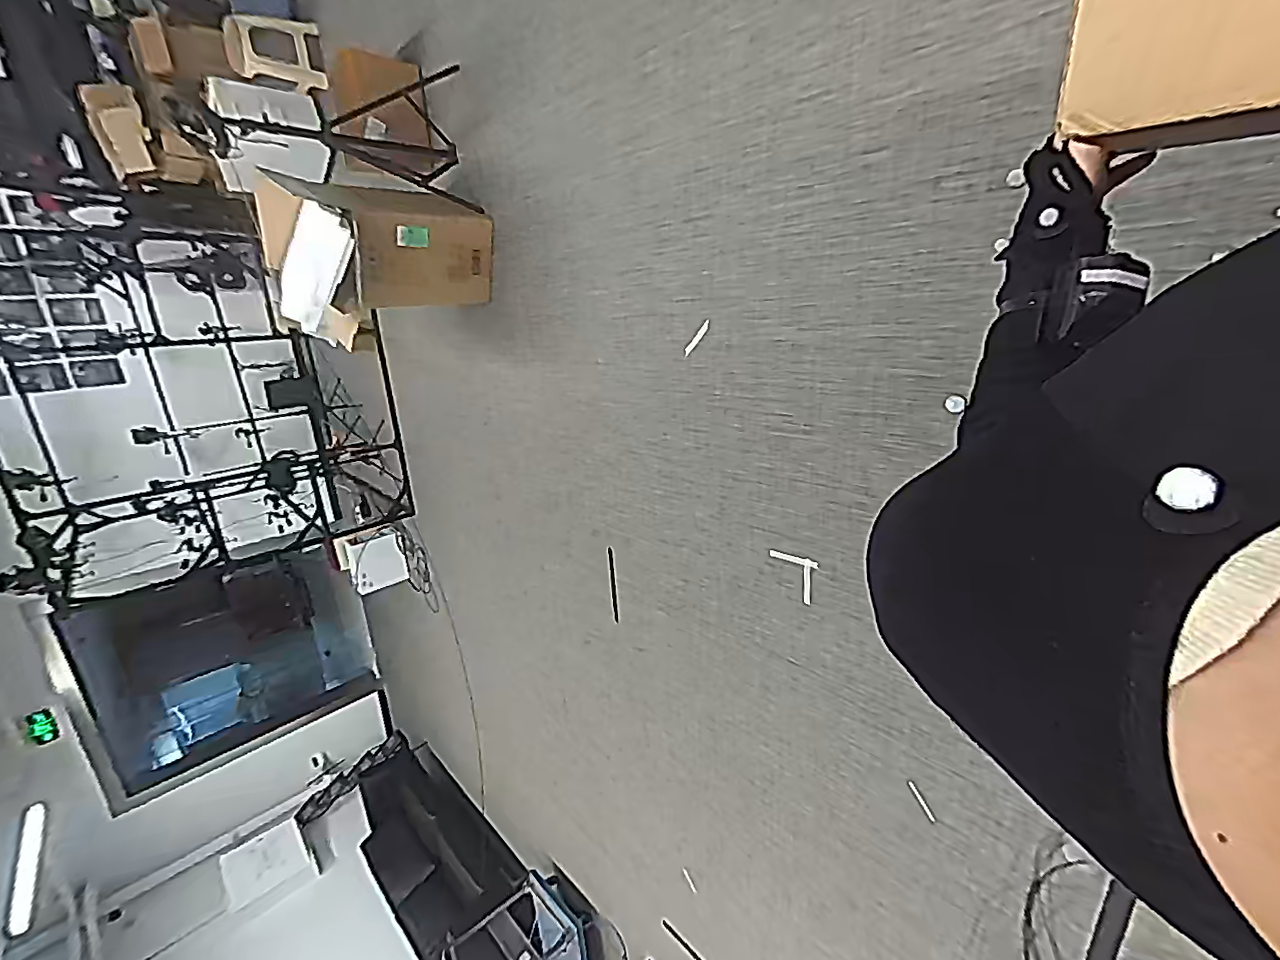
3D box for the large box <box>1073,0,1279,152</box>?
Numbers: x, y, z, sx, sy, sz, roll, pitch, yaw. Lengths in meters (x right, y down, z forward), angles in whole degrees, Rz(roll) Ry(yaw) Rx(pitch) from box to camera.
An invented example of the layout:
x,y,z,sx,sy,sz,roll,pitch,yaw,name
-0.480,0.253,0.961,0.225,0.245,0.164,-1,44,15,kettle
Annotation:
x,y,z,sx,sy,sz,roll,pitch,yaw,name
0.423,-0.320,0.164,0.408,0.320,0.320,14,122,39,large box
